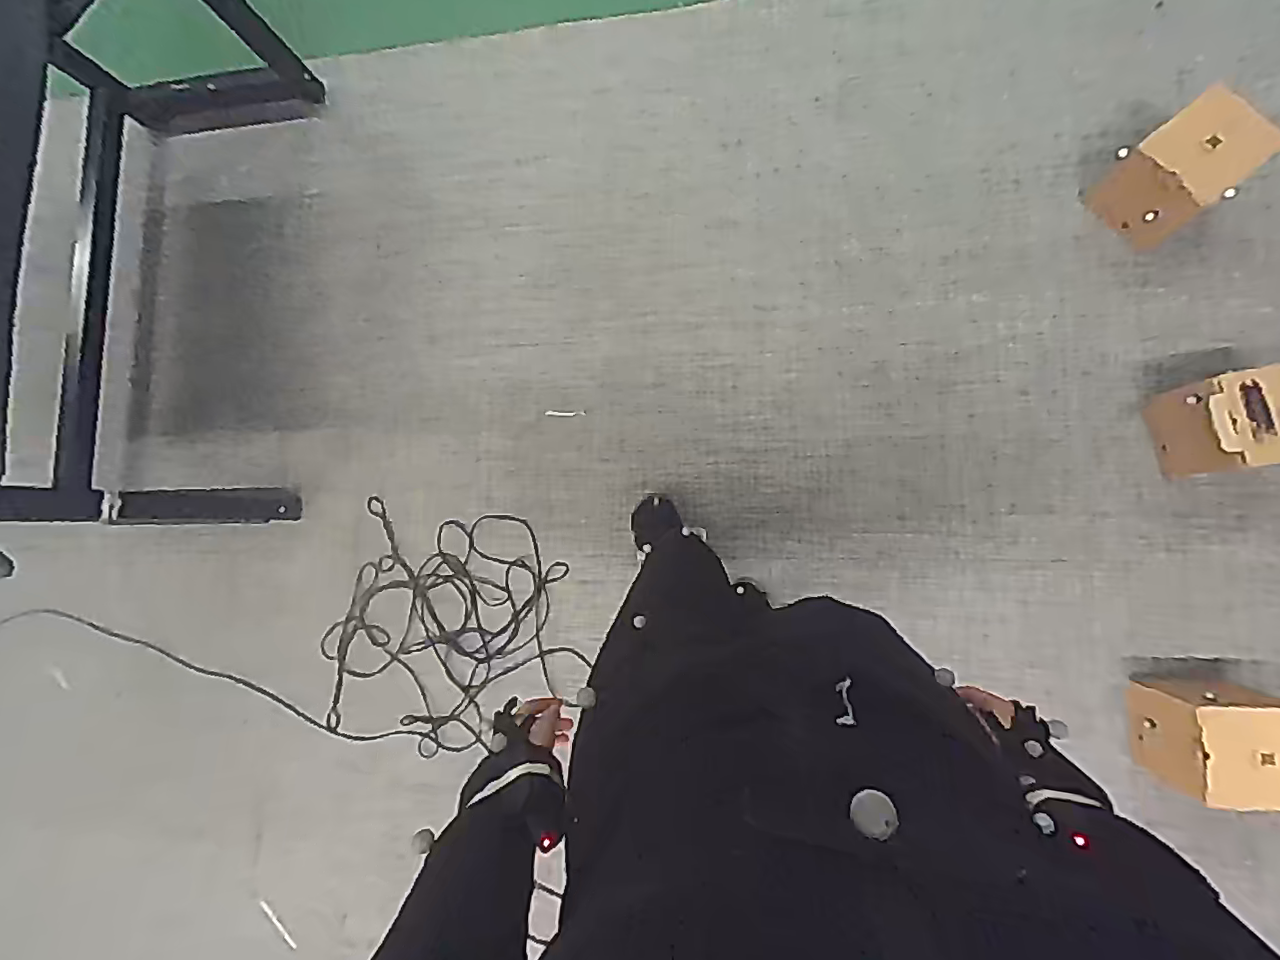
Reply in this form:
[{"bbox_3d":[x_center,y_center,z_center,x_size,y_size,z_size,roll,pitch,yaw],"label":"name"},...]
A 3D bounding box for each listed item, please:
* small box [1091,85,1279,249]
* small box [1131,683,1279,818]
[{"bbox_3d":[1.028,-0.586,1.039,0.179,0.176,0.168,-40,81,3],"label":"small box"},{"bbox_3d":[1.024,0.463,0.948,0.179,0.176,0.168,-2,85,10],"label":"small box"}]
